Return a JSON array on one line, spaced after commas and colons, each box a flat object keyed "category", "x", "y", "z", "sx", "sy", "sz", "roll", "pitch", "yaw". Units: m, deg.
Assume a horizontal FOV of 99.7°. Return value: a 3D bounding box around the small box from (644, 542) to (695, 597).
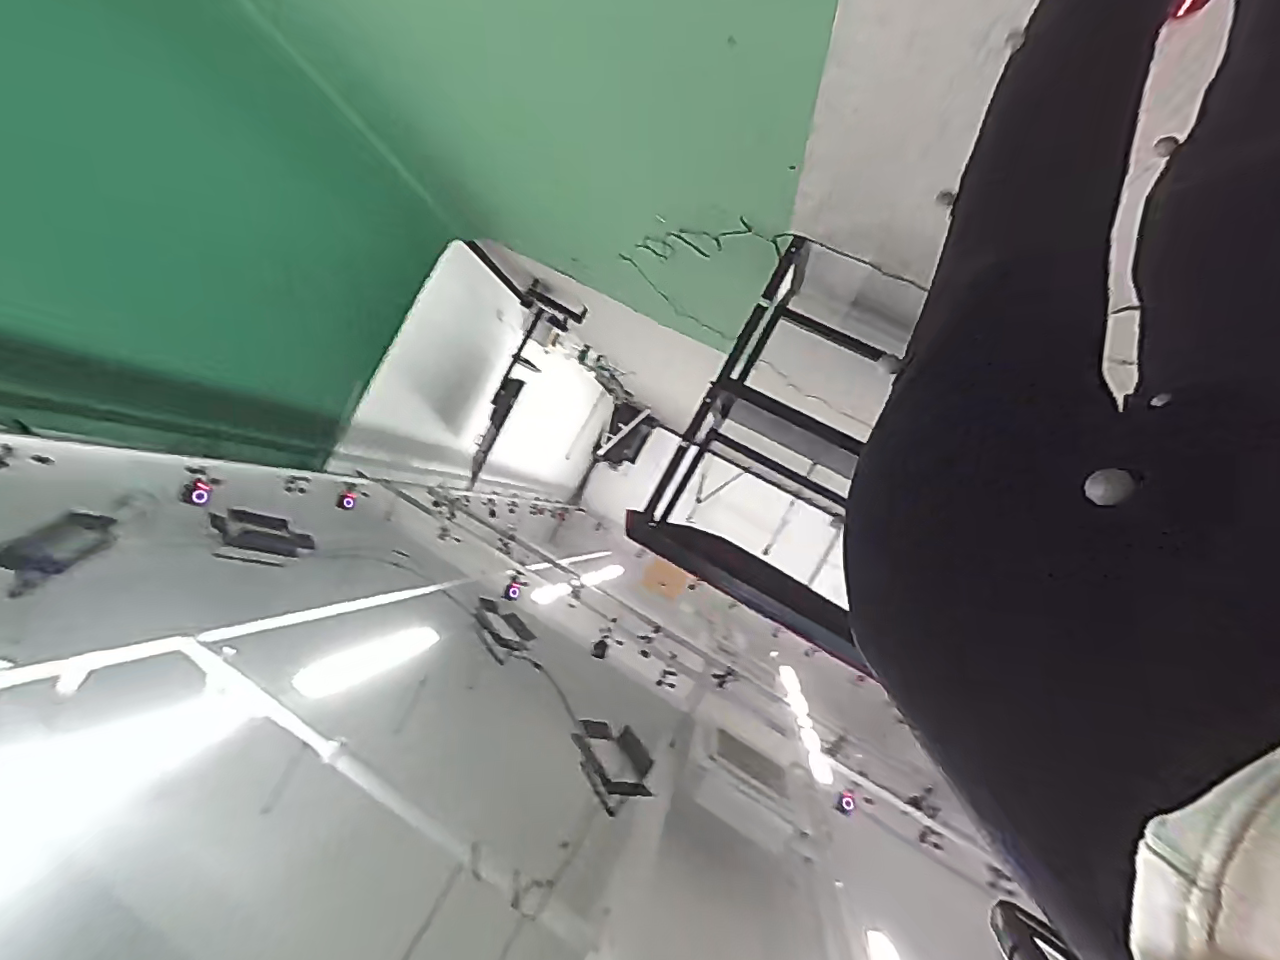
[{"category": "small box", "x": 0.139, "y": 0.396, "z": 2.415, "sx": 0.179, "sy": 0.176, "sz": 0.168, "roll": 29, "pitch": -178, "yaw": 8}]
